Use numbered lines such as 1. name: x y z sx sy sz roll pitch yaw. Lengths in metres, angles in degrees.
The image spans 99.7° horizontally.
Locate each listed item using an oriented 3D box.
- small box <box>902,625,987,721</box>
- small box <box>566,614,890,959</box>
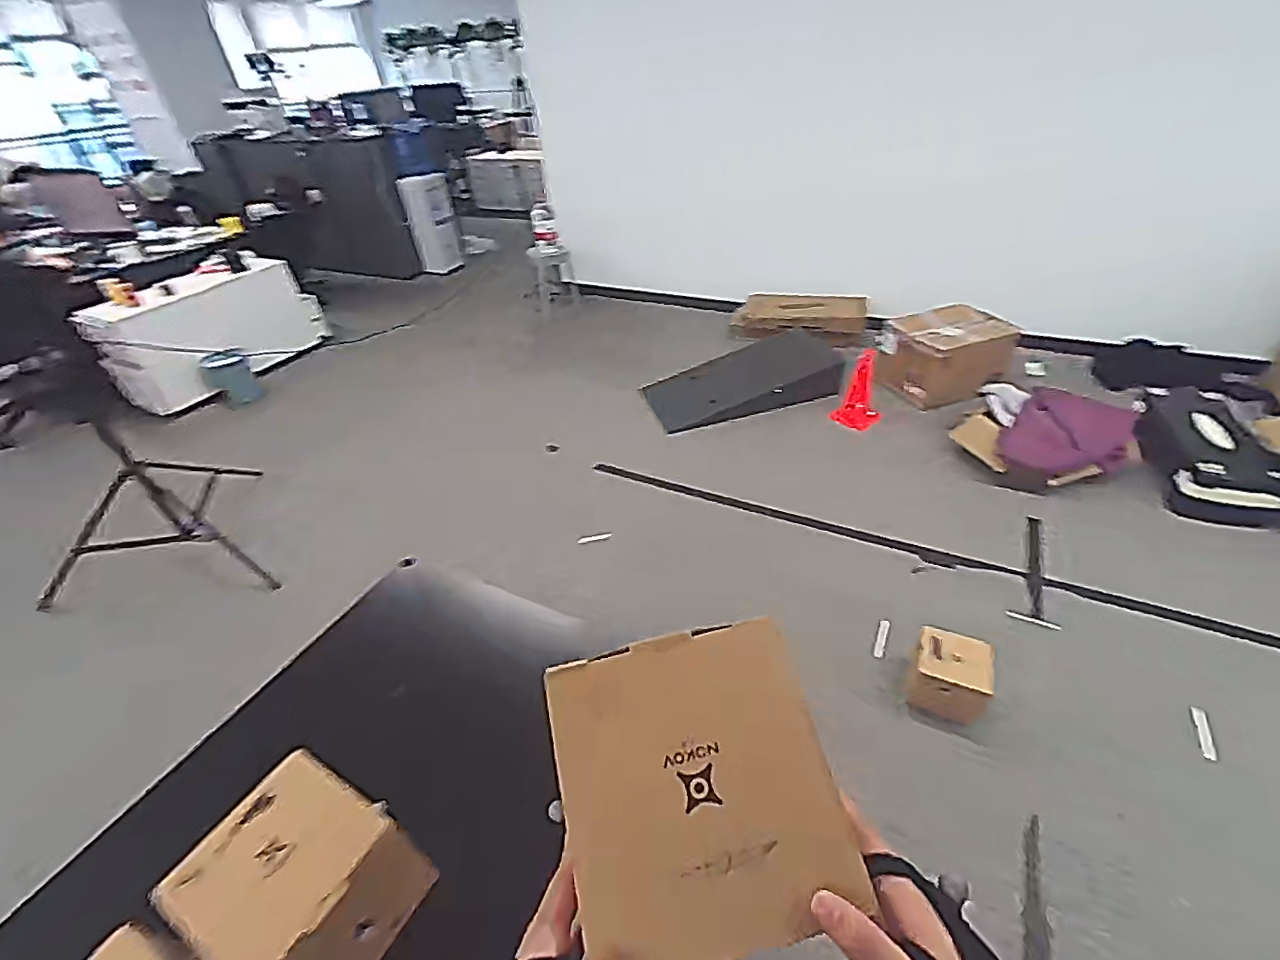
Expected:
1. small box: 0.855 0.548 1.528 0.179 0.176 0.168 13 42 21
2. small box: 0.044 0.221 0.405 0.168 0.176 0.179 -11 62 -6
